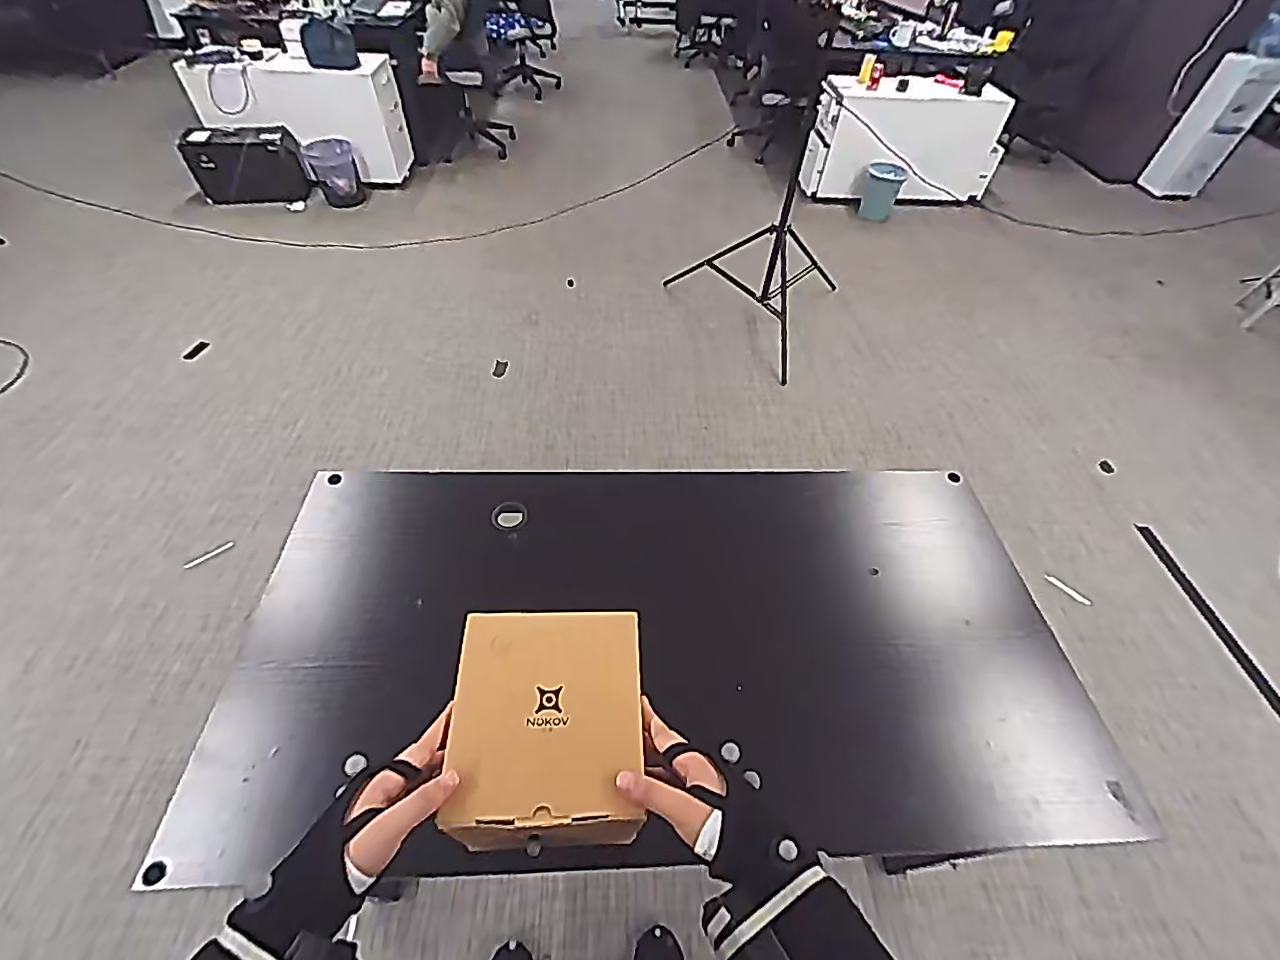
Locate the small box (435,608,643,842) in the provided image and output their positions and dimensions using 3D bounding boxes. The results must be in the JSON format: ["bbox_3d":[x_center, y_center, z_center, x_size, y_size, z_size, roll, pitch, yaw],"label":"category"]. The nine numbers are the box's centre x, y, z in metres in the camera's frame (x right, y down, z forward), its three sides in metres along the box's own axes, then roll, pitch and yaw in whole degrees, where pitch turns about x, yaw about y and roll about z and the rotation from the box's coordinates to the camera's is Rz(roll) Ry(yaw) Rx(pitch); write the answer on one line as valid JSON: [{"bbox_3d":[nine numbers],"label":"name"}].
[{"bbox_3d":[-0.089,0.244,0.538,0.168,0.176,0.179,1,52,-5],"label":"small box"}]
